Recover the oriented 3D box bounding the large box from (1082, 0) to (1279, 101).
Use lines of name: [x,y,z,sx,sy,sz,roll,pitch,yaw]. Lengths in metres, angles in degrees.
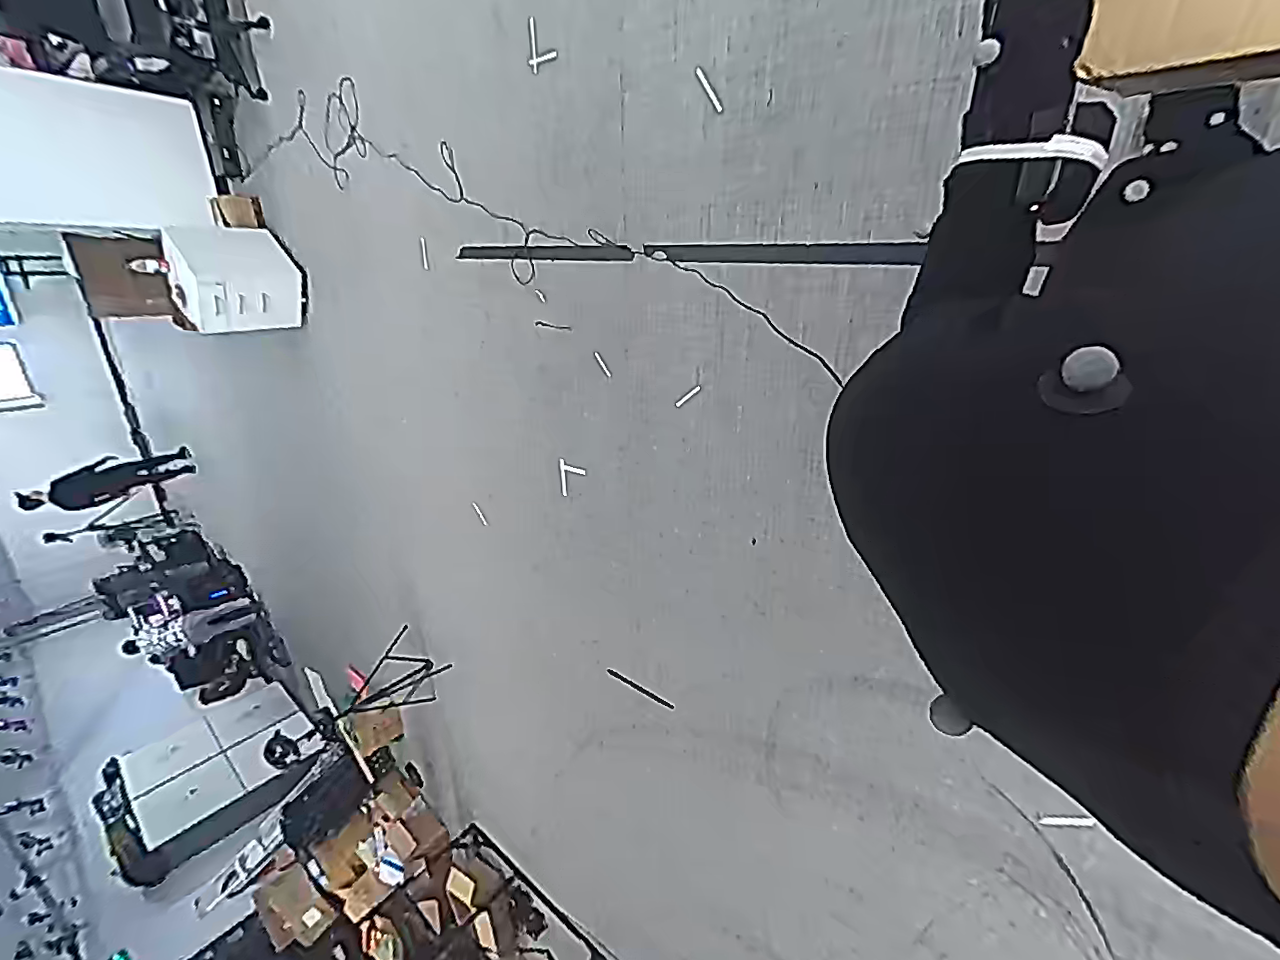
large box: [0.548,-0.437,0.298,0.408,0.320,0.320,18,127,38]
